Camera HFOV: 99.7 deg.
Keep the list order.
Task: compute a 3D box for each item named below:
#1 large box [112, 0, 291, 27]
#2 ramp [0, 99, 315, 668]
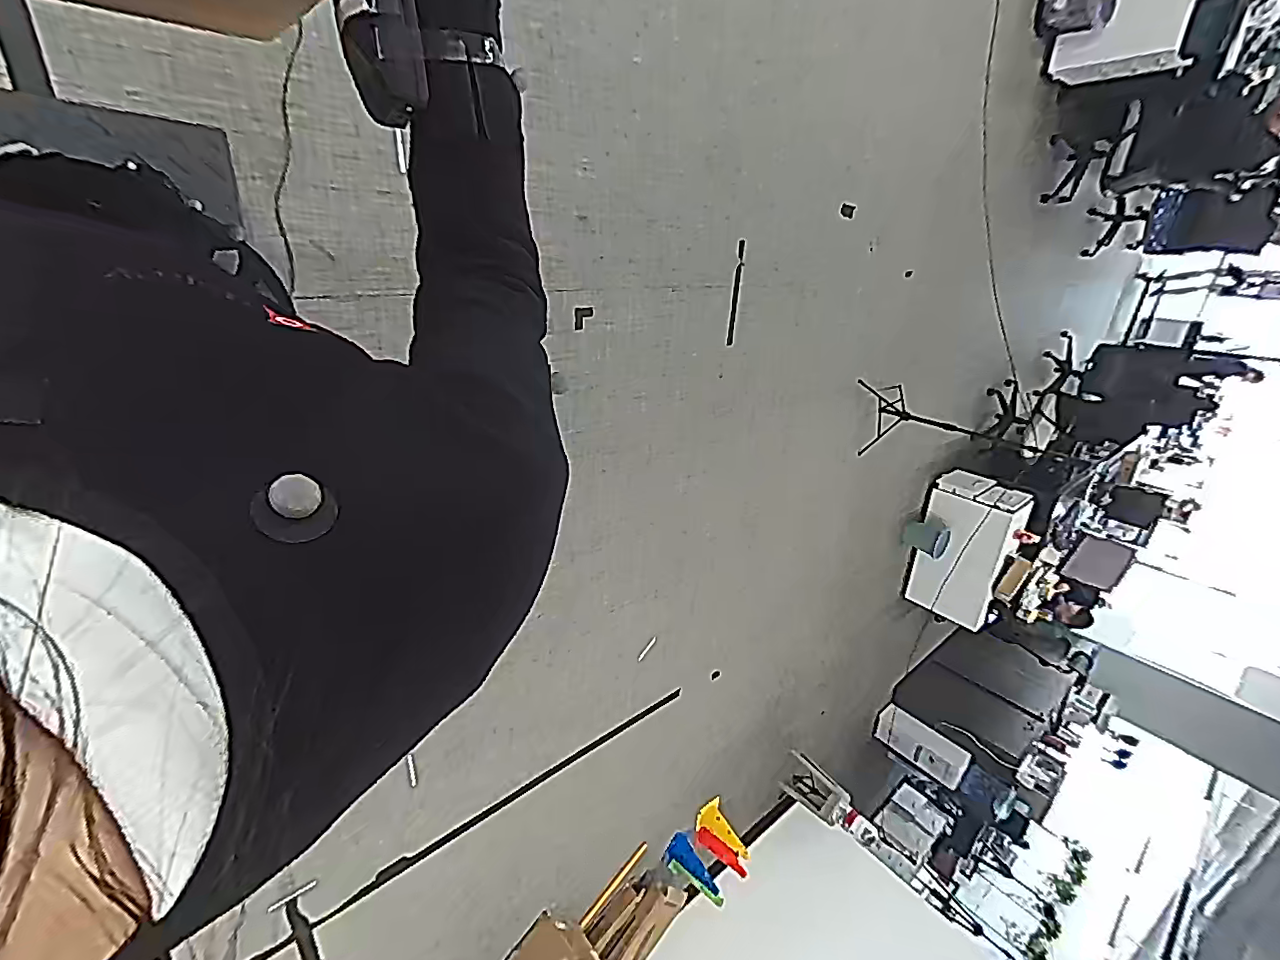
[{"bbox_3d":[-0.387,-0.430,0.205,0.408,0.320,0.320,-18,126,-36],"label":"large box"},{"bbox_3d":[-1.006,-0.168,1.058,0.509,0.206,0.991,-14,117,-36],"label":"ramp"}]
